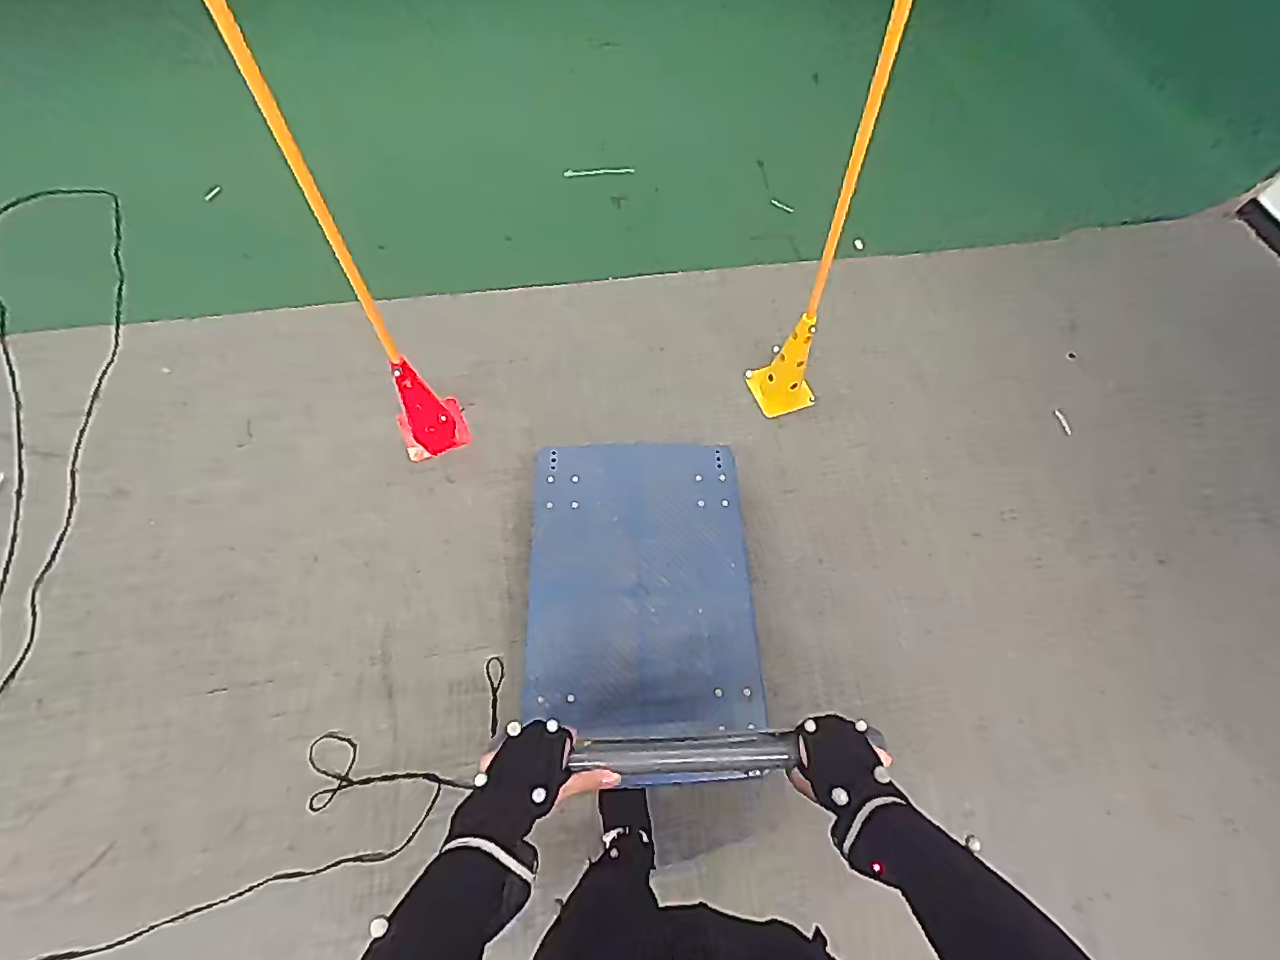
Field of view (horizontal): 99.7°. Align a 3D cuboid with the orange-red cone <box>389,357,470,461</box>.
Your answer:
[{"bbox_3d":[-0.670,-0.241,1.625,0.199,0.360,0.198,-22,66,-11],"label":"orange-red cone"}]
